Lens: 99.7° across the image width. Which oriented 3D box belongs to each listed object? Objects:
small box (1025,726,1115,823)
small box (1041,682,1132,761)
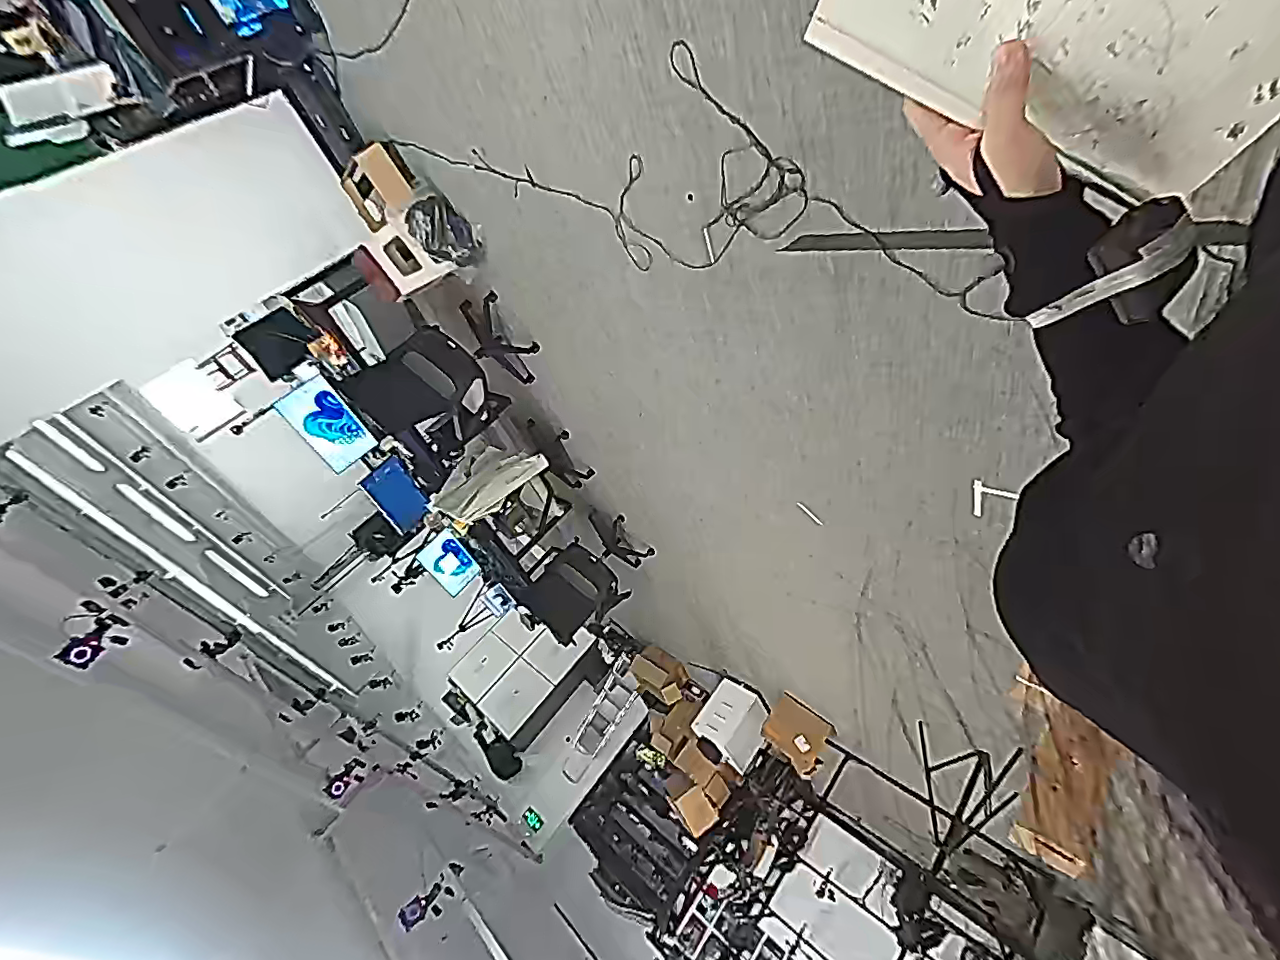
[{"bbox_3d":[1.305,0.887,1.641,0.168,0.176,0.179,23,147,40],"label":"small box"},{"bbox_3d":[1.406,0.773,1.702,0.168,0.176,0.179,24,150,37],"label":"small box"}]
